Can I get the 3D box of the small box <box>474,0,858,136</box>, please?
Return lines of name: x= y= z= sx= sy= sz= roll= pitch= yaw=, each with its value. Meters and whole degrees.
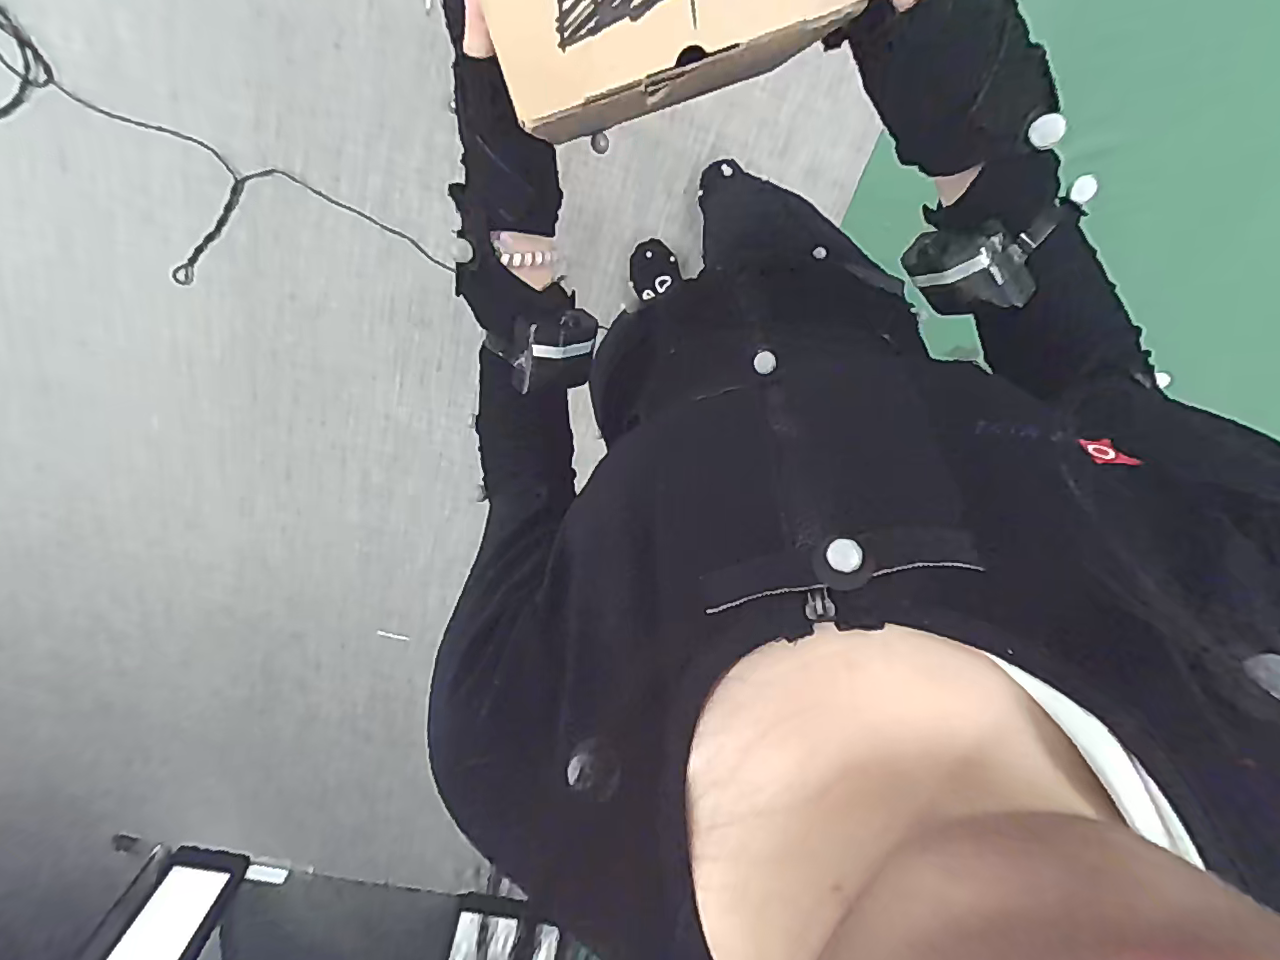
small box: x=-0.005 y=-0.296 z=0.276 sx=0.168 sy=0.176 sz=0.179 roll=-16 pitch=118 yaw=6
